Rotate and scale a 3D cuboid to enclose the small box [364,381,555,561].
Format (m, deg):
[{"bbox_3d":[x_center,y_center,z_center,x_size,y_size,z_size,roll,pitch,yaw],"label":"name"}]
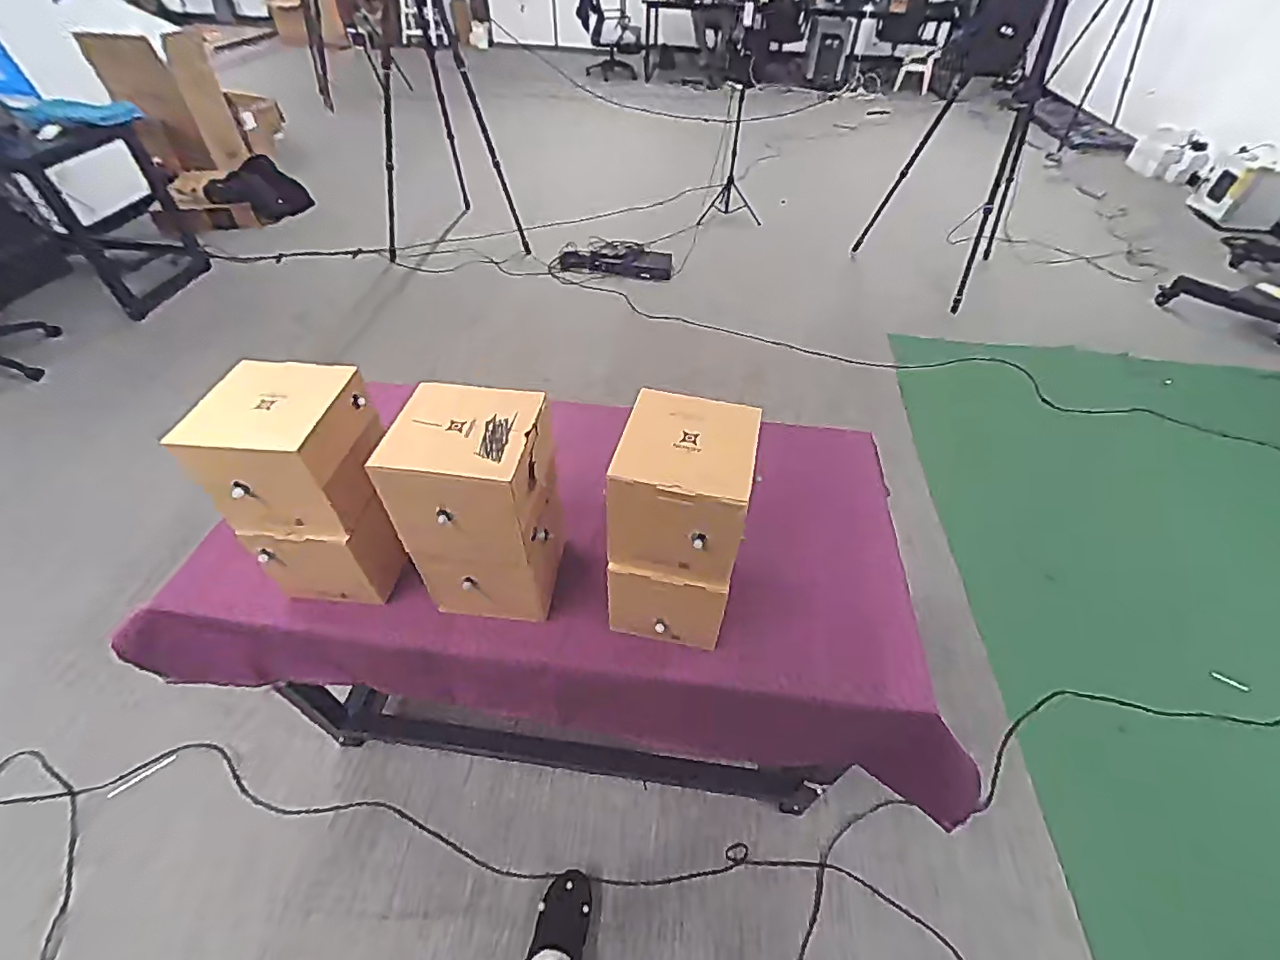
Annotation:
[{"bbox_3d":[-0.221,-0.009,0.723,0.179,0.176,0.168,6,46,6],"label":"small box"}]

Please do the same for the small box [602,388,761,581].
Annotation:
[{"bbox_3d":[0.056,0.007,0.715,0.168,0.176,0.179,12,46,9],"label":"small box"}]

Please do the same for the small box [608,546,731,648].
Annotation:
[{"bbox_3d":[0.051,0.126,0.826,0.168,0.176,0.179,10,47,8],"label":"small box"}]

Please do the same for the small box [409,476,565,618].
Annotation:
[{"bbox_3d":[-0.224,0.100,0.847,0.179,0.176,0.168,5,47,4],"label":"small box"}]

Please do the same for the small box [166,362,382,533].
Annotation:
[{"bbox_3d":[-0.478,-0.043,0.752,0.168,0.176,0.179,3,45,2],"label":"small box"}]
